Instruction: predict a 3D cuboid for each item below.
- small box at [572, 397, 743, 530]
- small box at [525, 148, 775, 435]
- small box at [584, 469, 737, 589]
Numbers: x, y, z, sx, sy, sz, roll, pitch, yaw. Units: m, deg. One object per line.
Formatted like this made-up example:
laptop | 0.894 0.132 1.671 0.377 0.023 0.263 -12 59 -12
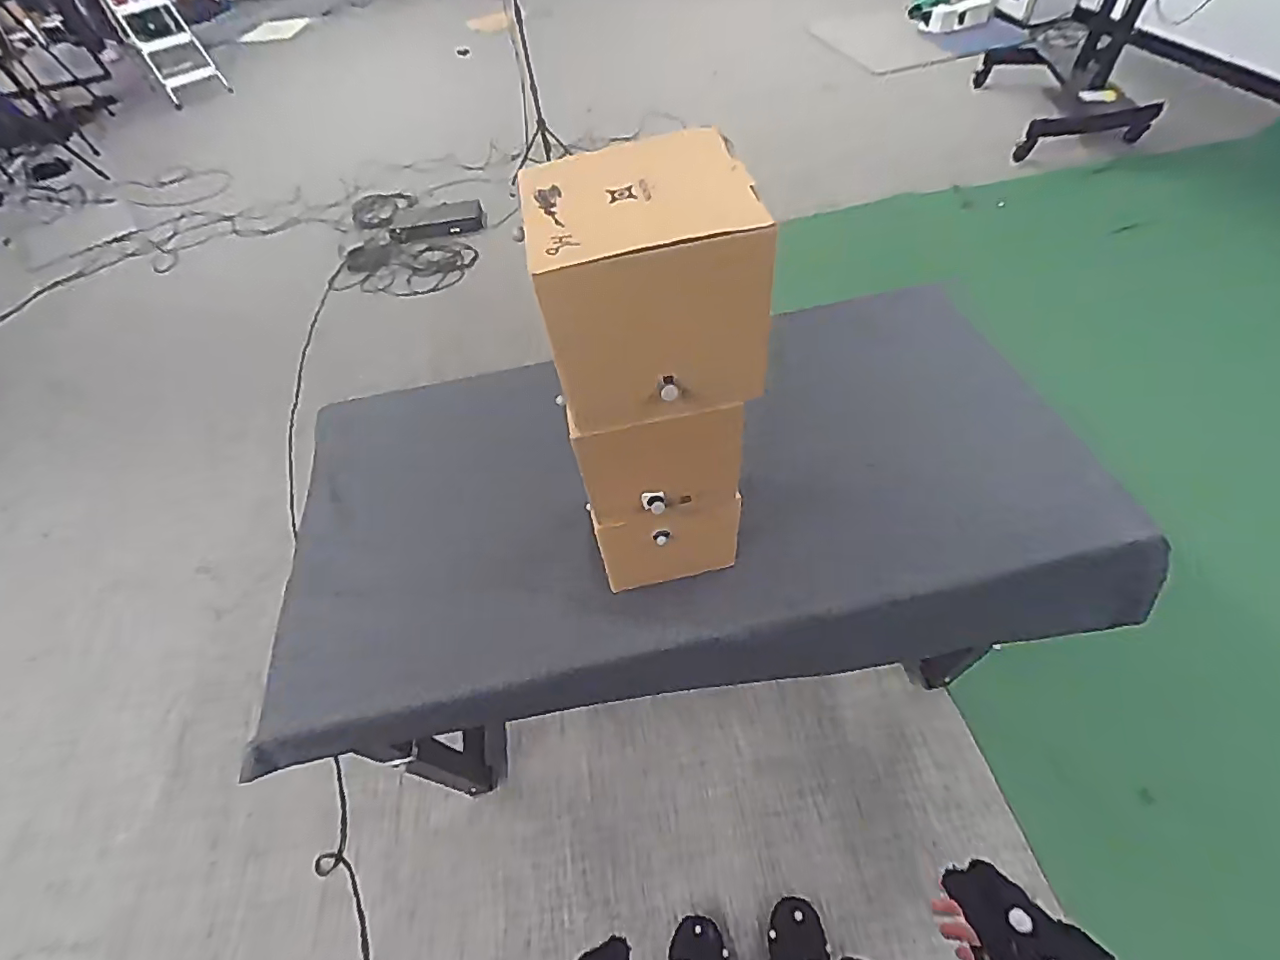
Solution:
small box | 0.012 -0.068 0.622 0.168 0.176 0.179 -12 54 -1
small box | 0.005 -0.164 0.489 0.179 0.176 0.168 -12 52 -2
small box | 0.025 0.032 0.748 0.179 0.176 0.168 -12 53 -4
